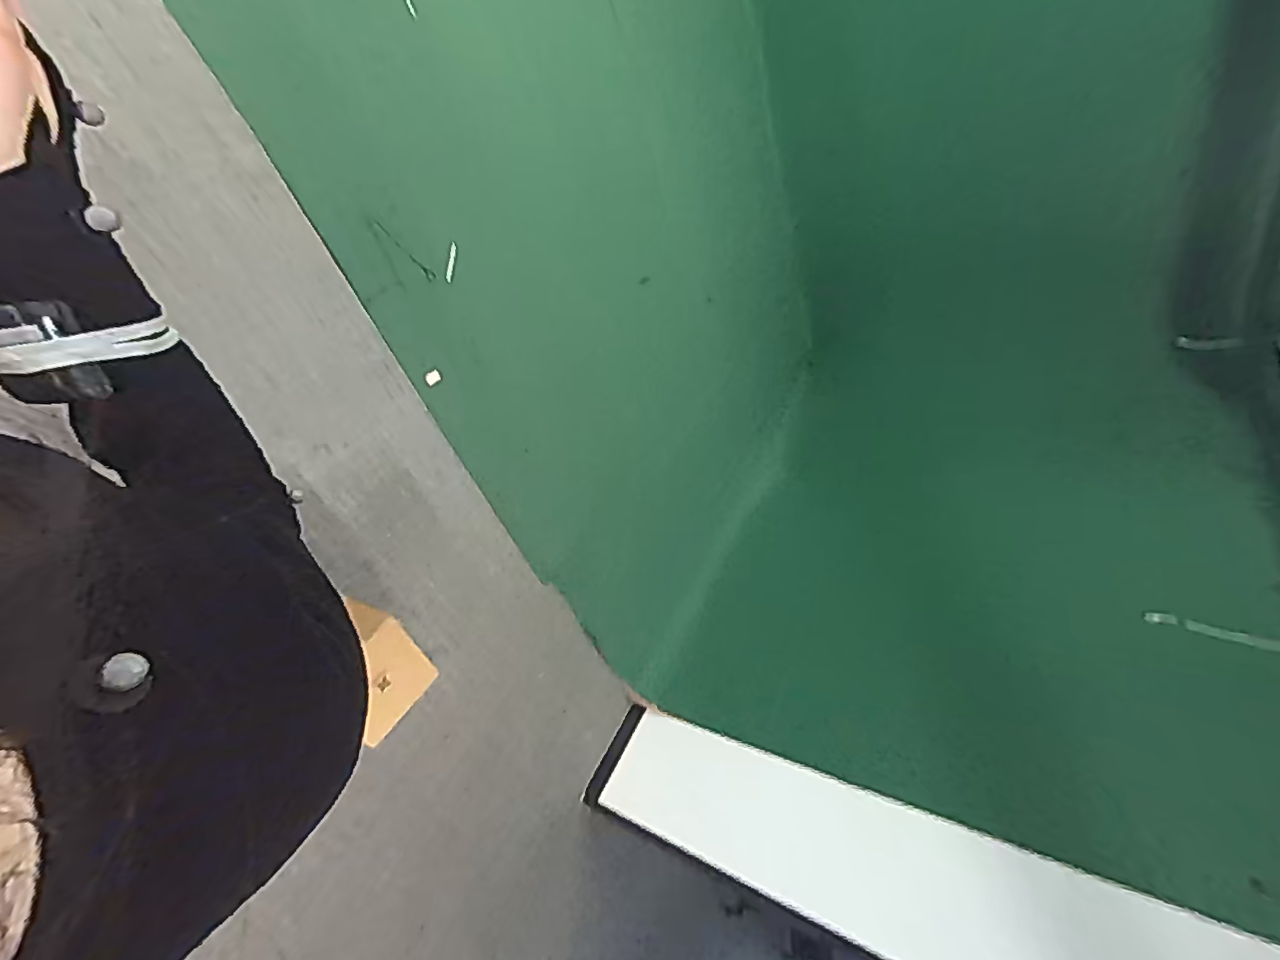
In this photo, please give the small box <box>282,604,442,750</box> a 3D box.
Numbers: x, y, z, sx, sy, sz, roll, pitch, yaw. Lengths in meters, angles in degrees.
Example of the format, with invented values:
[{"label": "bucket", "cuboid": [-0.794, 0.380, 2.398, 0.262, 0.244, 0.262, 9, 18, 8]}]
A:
[{"label": "small box", "cuboid": [-0.516, 0.356, 1.009, 0.168, 0.176, 0.179, -49, 129, -39]}]
